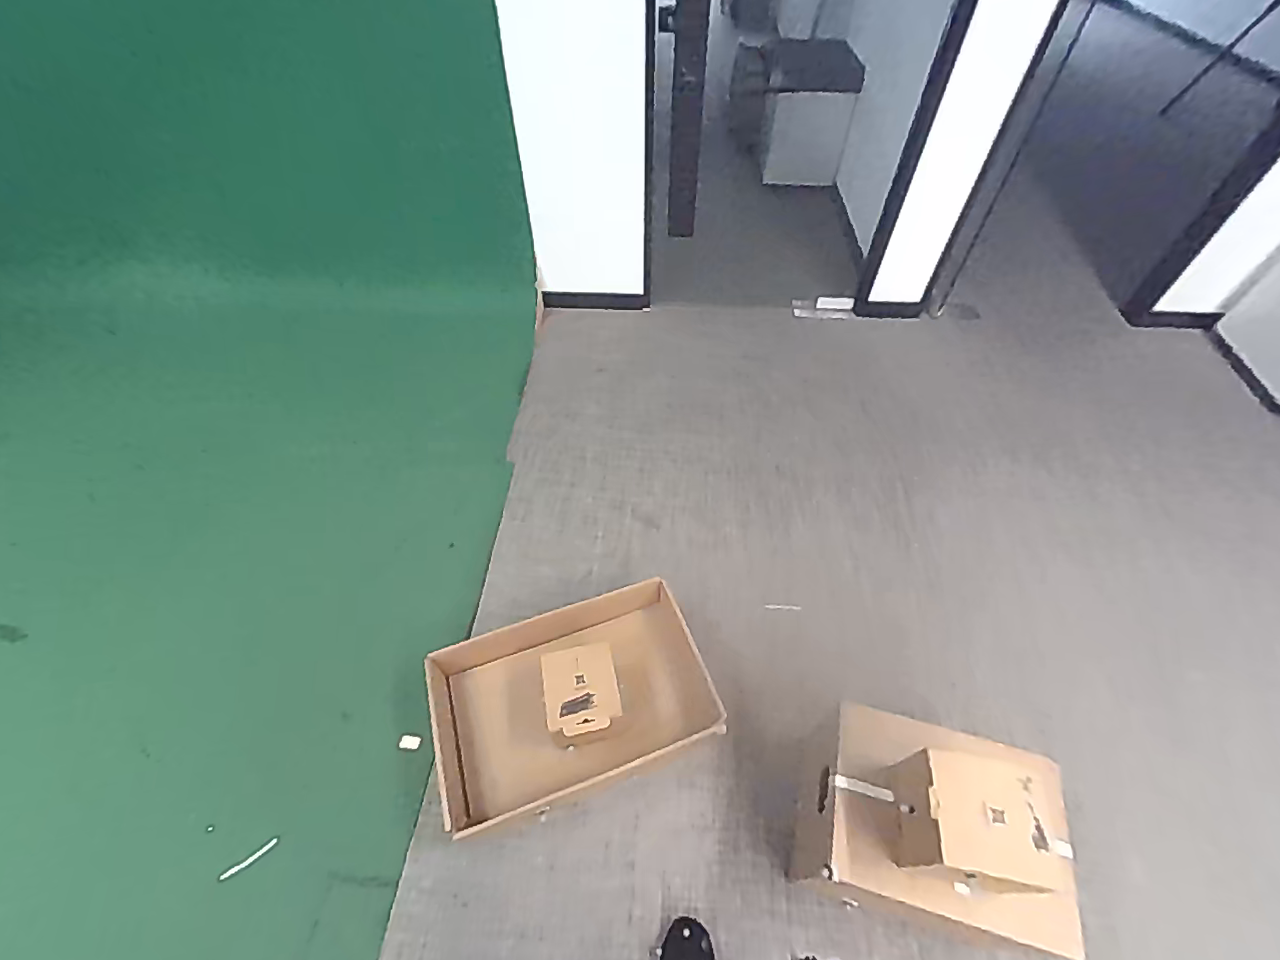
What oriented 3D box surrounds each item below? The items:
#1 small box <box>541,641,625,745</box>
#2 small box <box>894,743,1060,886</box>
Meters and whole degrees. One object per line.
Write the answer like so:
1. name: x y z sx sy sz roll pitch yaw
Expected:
1. small box: -0.133 0.510 1.280 0.168 0.176 0.179 -11 51 -7
2. small box: 0.540 0.561 0.902 0.179 0.176 0.168 8 53 7
